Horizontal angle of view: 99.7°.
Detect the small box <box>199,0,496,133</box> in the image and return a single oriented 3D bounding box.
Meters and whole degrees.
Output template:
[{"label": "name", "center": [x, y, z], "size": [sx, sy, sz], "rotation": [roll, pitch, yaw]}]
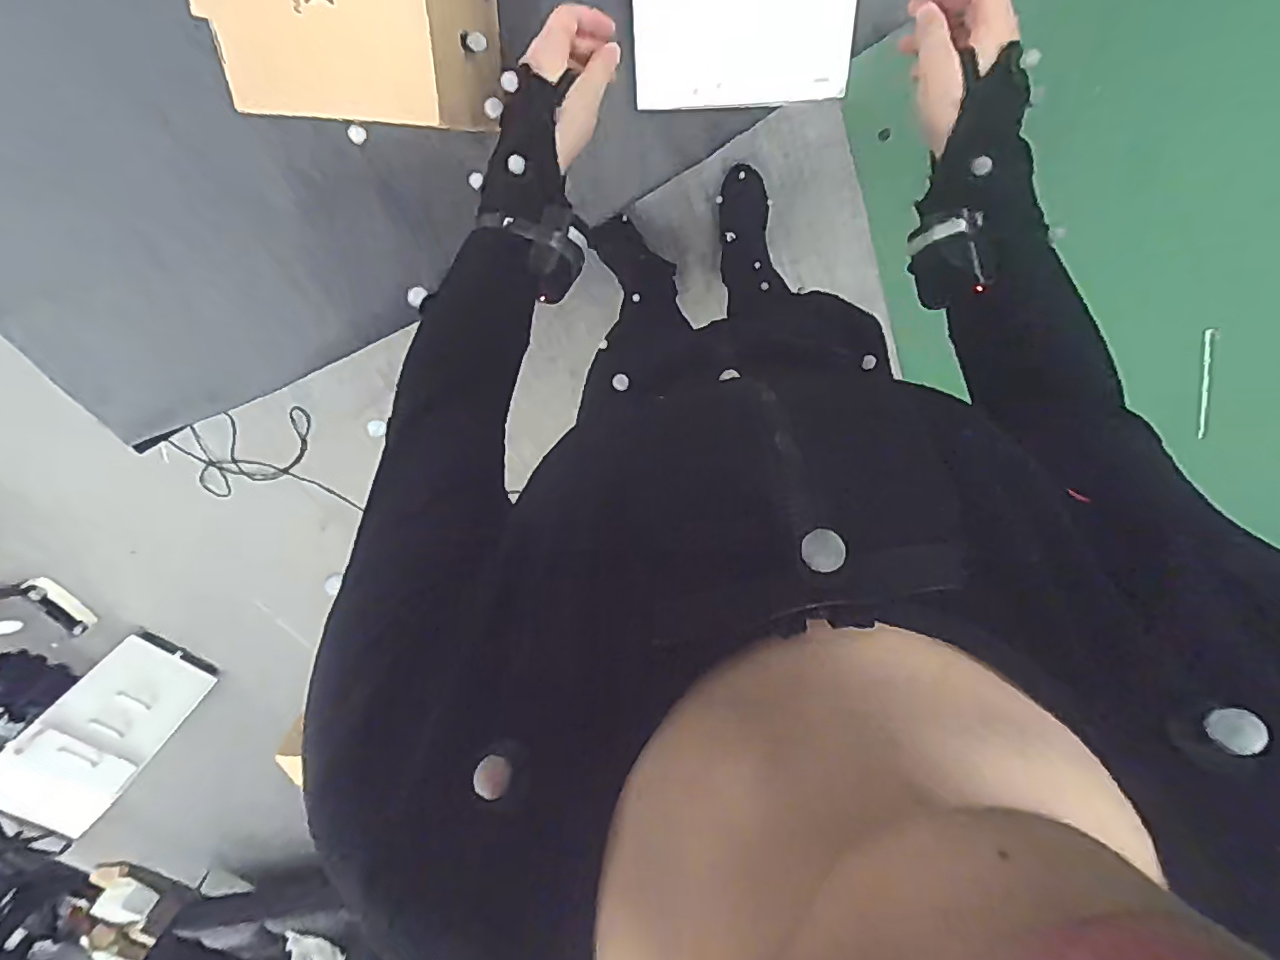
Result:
[{"label": "small box", "center": [-0.230, -0.397, 0.454], "size": [0.179, 0.176, 0.168], "rotation": [6, 123, 4]}]
